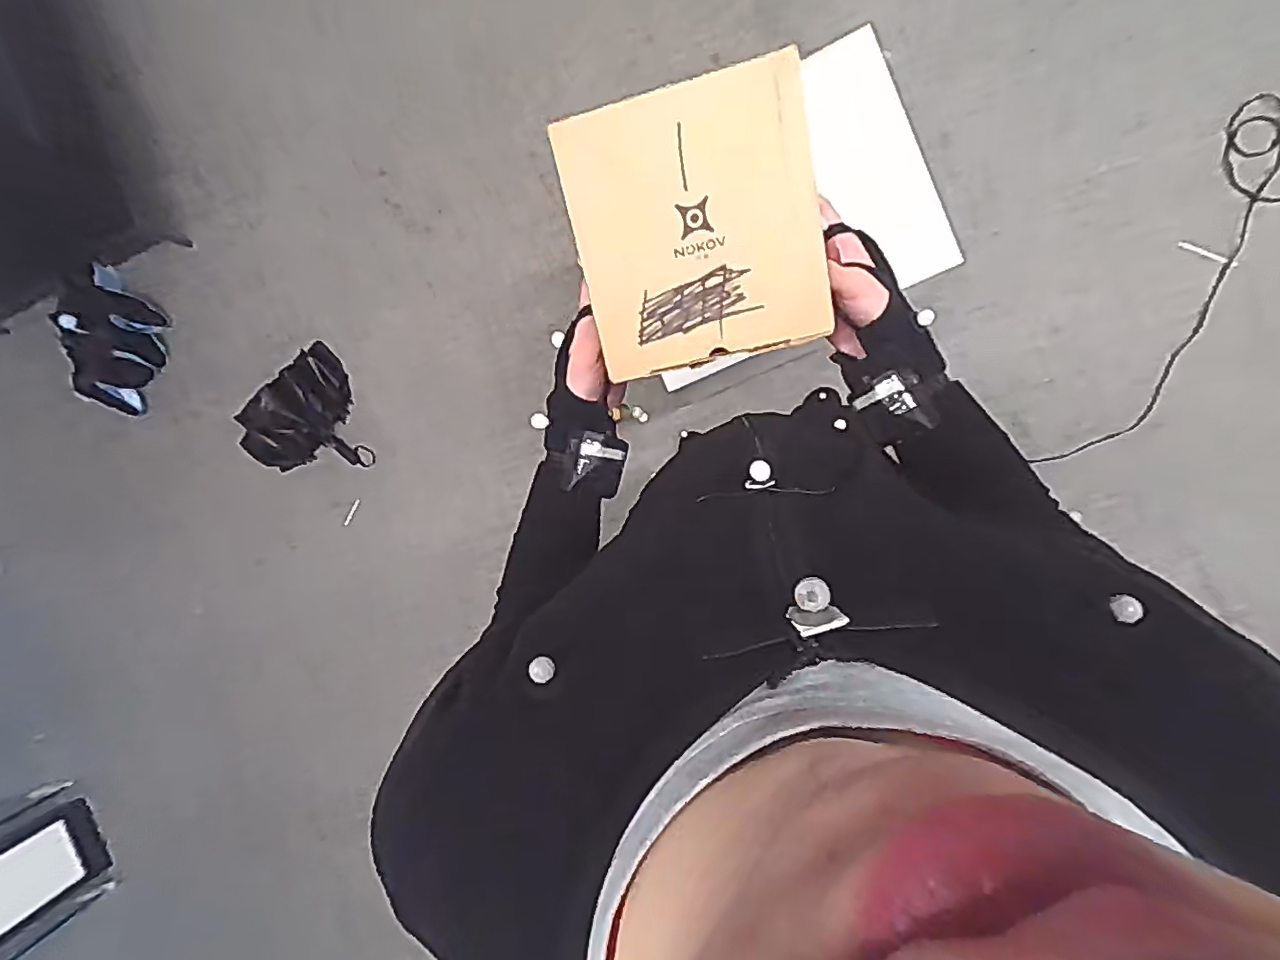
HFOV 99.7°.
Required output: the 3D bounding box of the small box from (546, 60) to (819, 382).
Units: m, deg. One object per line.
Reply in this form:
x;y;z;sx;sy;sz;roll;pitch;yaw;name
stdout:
0.042;-0.193;0.447;0.168;0.176;0.179;-10;107;10;small box
